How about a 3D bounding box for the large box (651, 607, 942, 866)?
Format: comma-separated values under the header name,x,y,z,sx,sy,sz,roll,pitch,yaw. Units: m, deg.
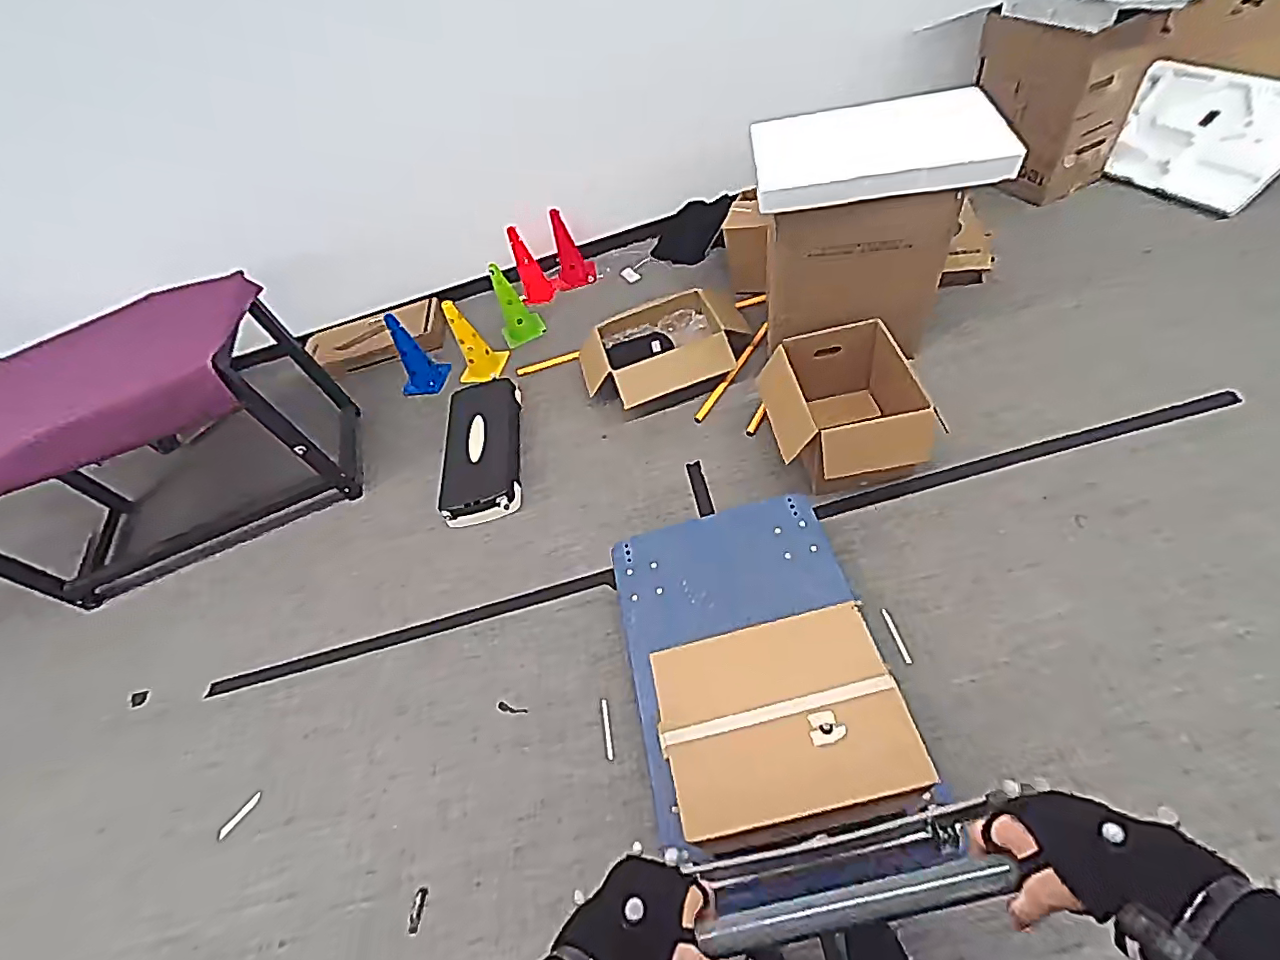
name,x,y,z,sx,sy,sz,roll,pitch,yaw
large box,0.267,0.493,1.024,0.408,0.320,0.320,-15,51,2
